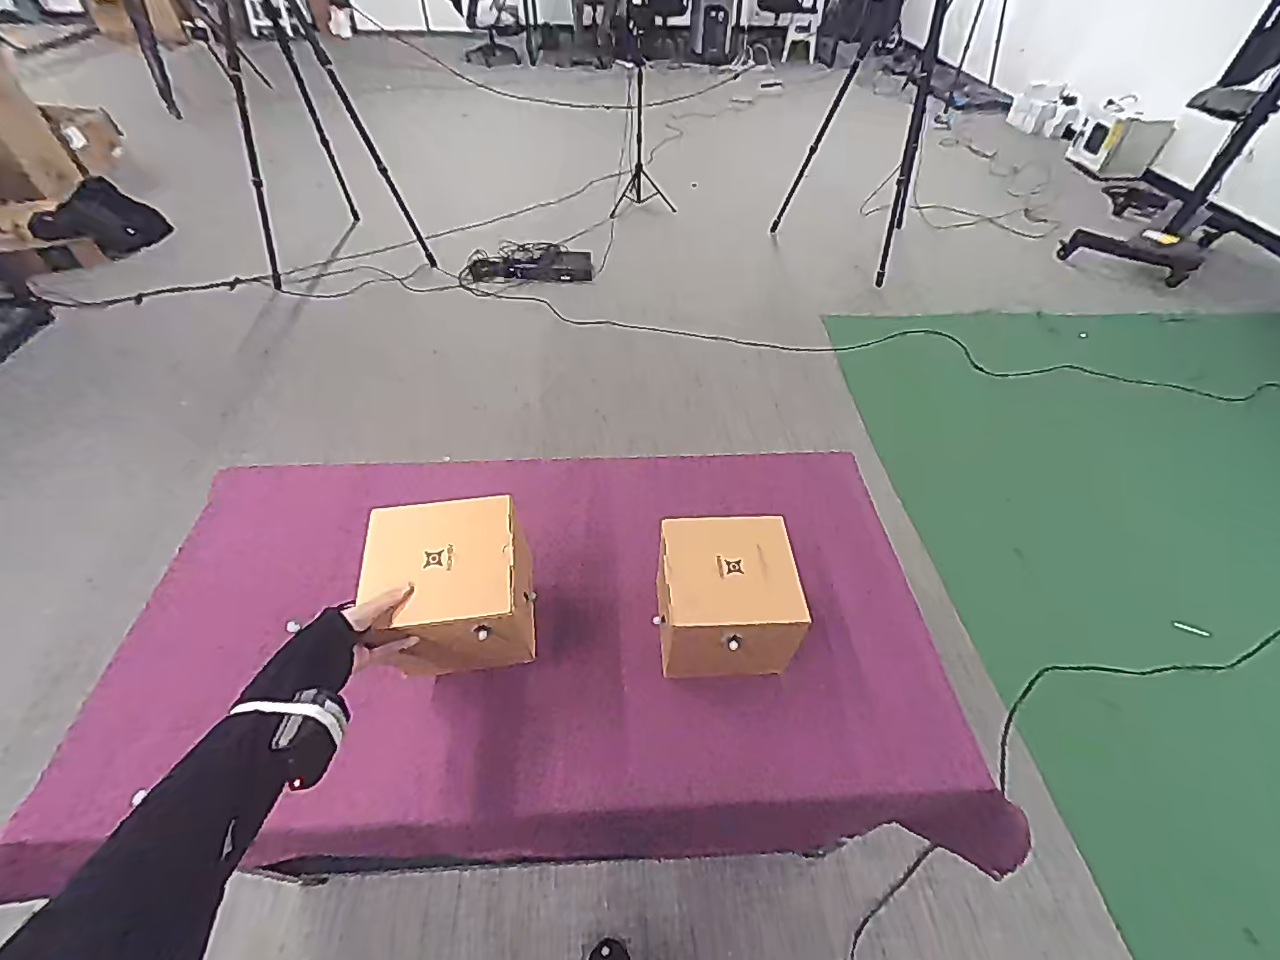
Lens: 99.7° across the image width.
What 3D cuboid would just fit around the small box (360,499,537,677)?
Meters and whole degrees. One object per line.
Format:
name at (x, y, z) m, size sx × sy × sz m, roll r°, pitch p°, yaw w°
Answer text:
small box at (-0.237, 0.146, 0.713) m, size 0.179 × 0.176 × 0.168 m, roll -6°, pitch 53°, yaw -7°

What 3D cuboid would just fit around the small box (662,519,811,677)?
small box at (0.122, 0.172, 0.774) m, size 0.179 × 0.176 × 0.168 m, roll -1°, pitch 49°, yaw -2°
